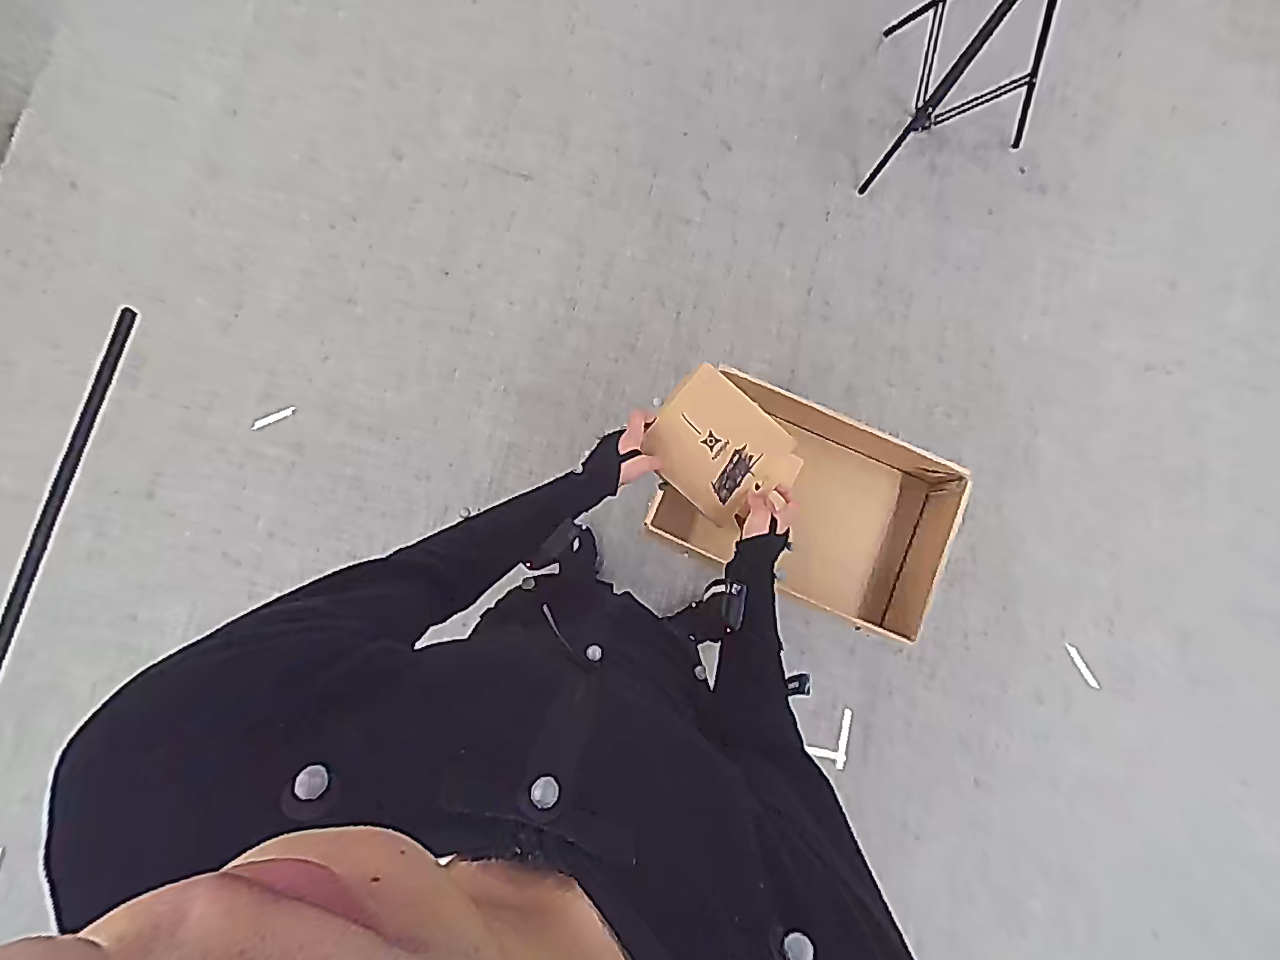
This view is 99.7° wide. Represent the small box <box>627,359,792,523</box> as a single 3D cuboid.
[{"bbox_3d":[0.096,-0.061,0.838,0.179,0.176,0.168,41,91,-5],"label":"small box"}]
